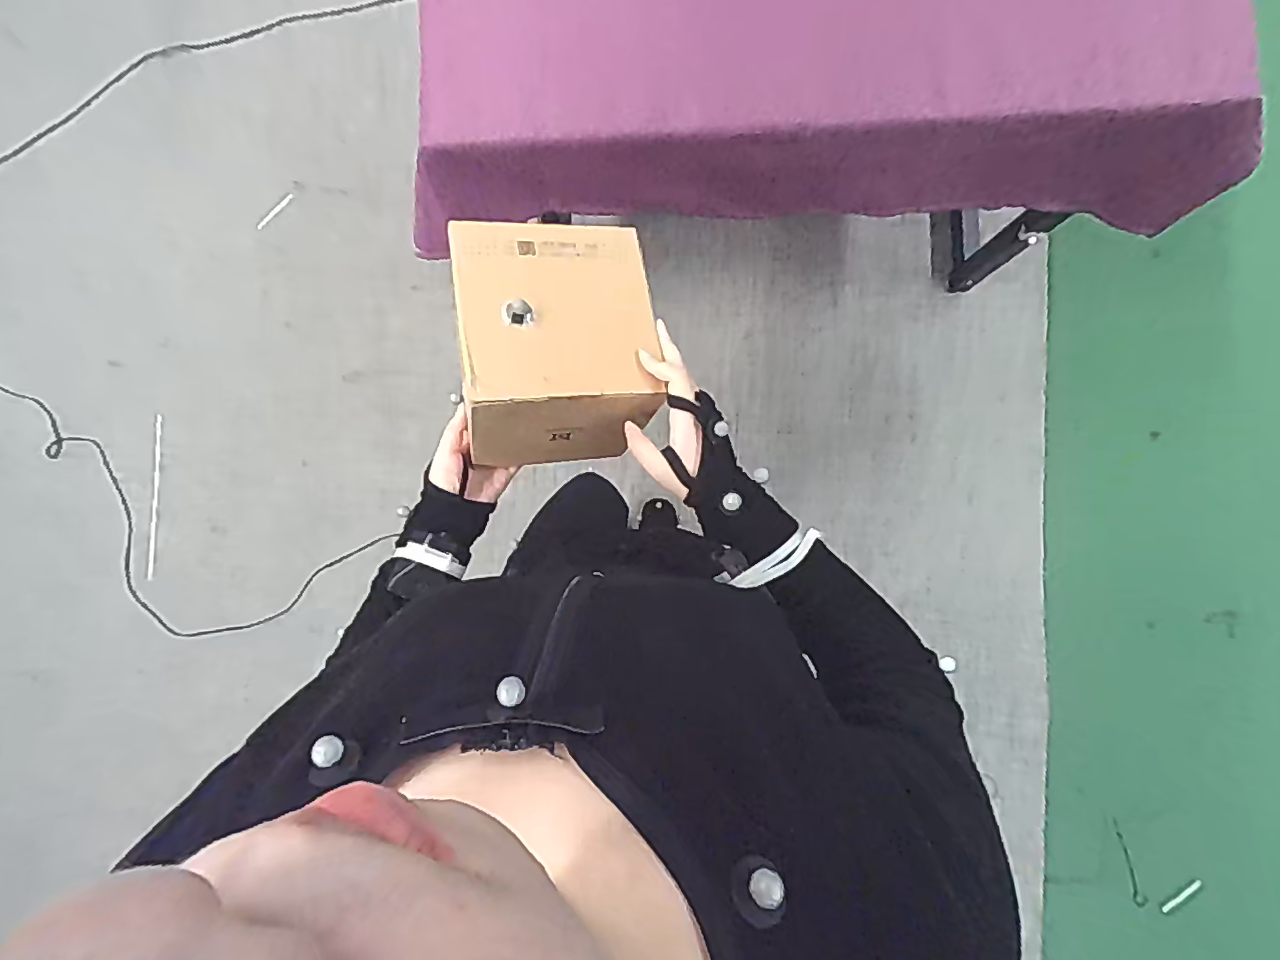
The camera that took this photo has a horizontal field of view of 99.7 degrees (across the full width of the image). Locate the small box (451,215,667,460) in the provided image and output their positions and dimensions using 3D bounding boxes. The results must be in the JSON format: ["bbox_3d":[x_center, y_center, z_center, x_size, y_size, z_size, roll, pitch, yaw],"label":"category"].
[{"bbox_3d":[-0.090,-0.131,0.530,0.168,0.179,0.176,-5,76,-18],"label":"small box"}]
